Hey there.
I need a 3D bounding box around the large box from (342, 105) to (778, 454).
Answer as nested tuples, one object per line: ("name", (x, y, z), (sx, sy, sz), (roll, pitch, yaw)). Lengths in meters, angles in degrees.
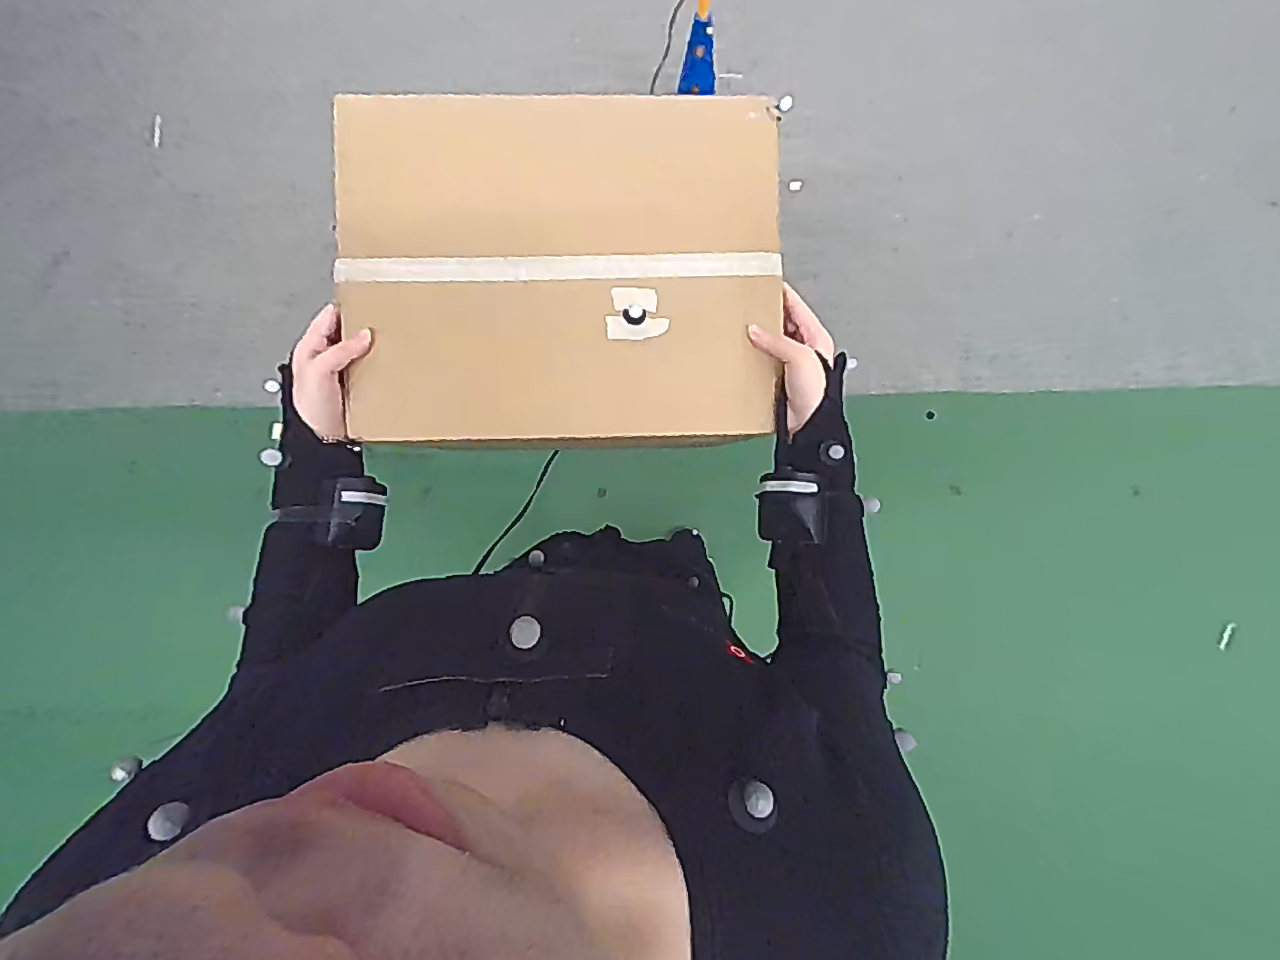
("large box", (-0.080, -0.198, 0.656), (0.408, 0.320, 0.320), (-2, 92, -3))
